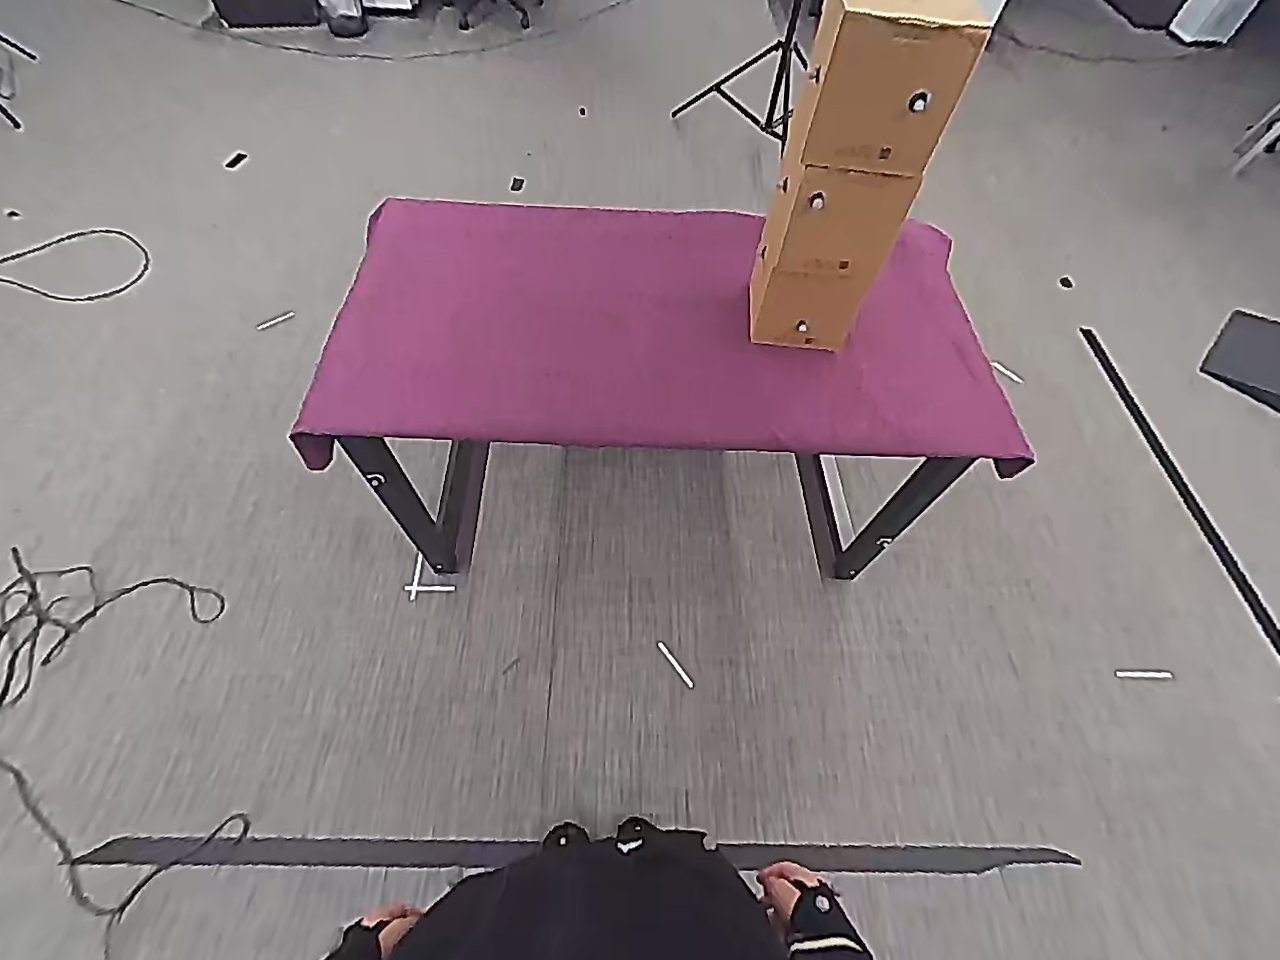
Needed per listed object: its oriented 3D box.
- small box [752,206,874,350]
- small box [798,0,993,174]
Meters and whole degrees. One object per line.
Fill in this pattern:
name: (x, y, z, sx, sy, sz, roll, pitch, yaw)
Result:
small box: (0.302, -0.365, 0.985, 0.168, 0.176, 0.179, 6, 59, 1)
small box: (0.312, -0.529, 0.702, 0.168, 0.176, 0.179, 8, 57, 1)
